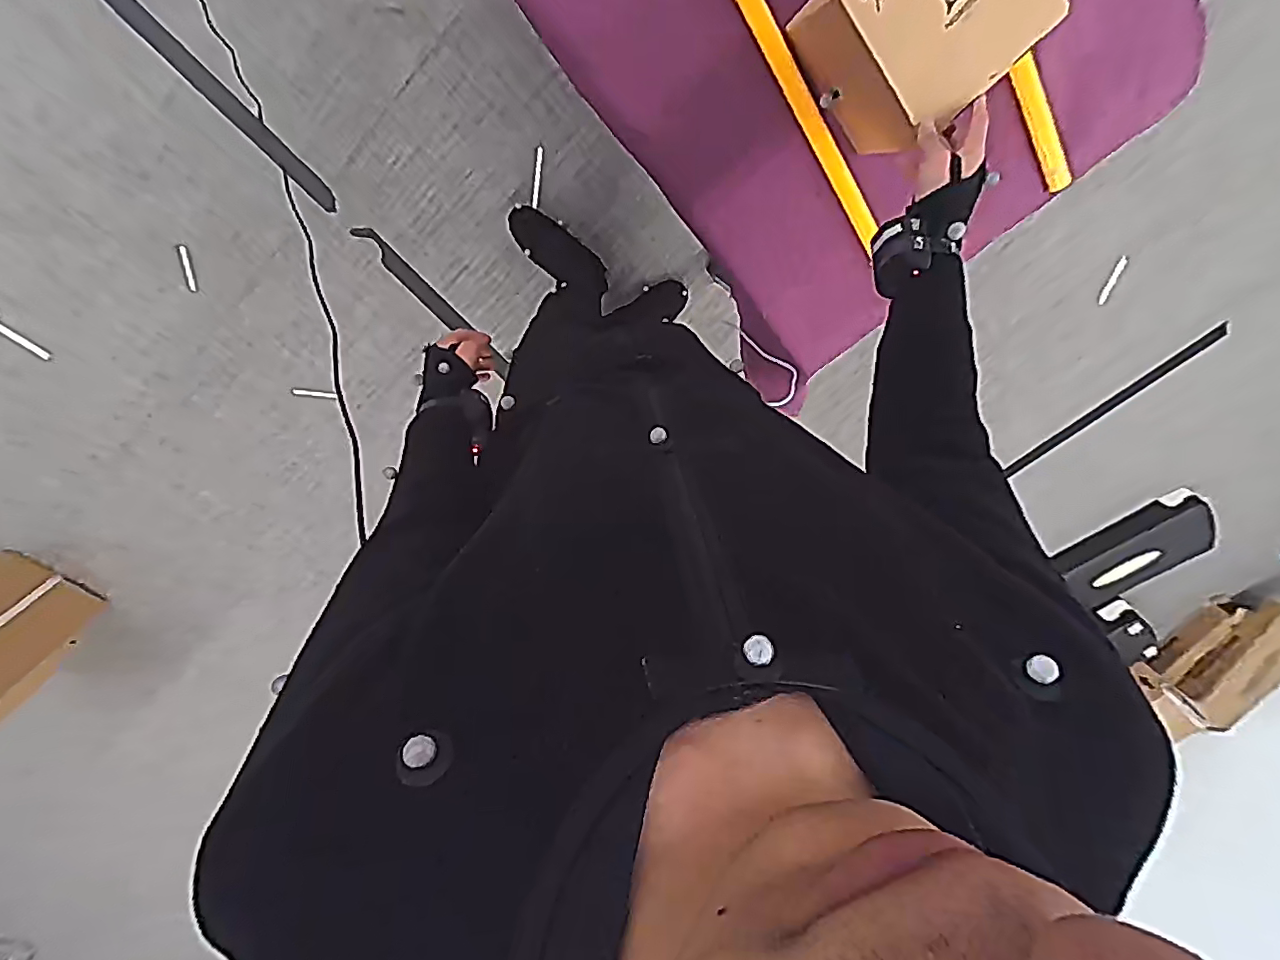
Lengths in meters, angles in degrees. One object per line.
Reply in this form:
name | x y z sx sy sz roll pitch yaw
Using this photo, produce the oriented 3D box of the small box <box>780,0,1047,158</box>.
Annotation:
small box | 0.288 -0.496 0.600 0.168 0.176 0.179 -41 116 17
